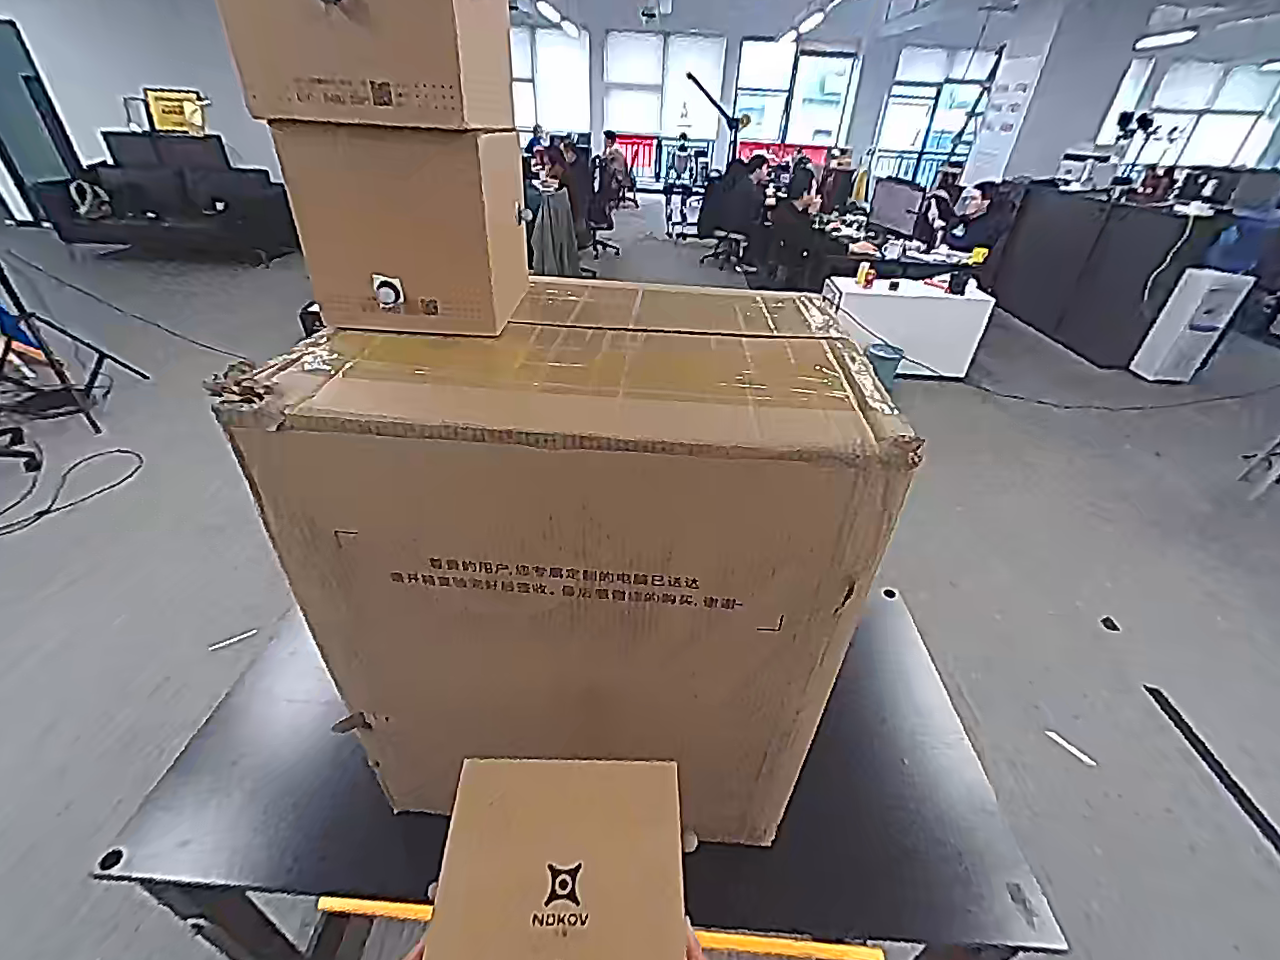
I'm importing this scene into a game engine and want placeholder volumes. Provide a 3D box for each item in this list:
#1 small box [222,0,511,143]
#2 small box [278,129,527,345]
[{"bbox_3d":[-0.207,-0.375,0.437,0.168,0.176,0.179,2,34,-1],"label":"small box"},{"bbox_3d":[-0.210,-0.247,0.540,0.168,0.176,0.179,1,34,-2],"label":"small box"}]
